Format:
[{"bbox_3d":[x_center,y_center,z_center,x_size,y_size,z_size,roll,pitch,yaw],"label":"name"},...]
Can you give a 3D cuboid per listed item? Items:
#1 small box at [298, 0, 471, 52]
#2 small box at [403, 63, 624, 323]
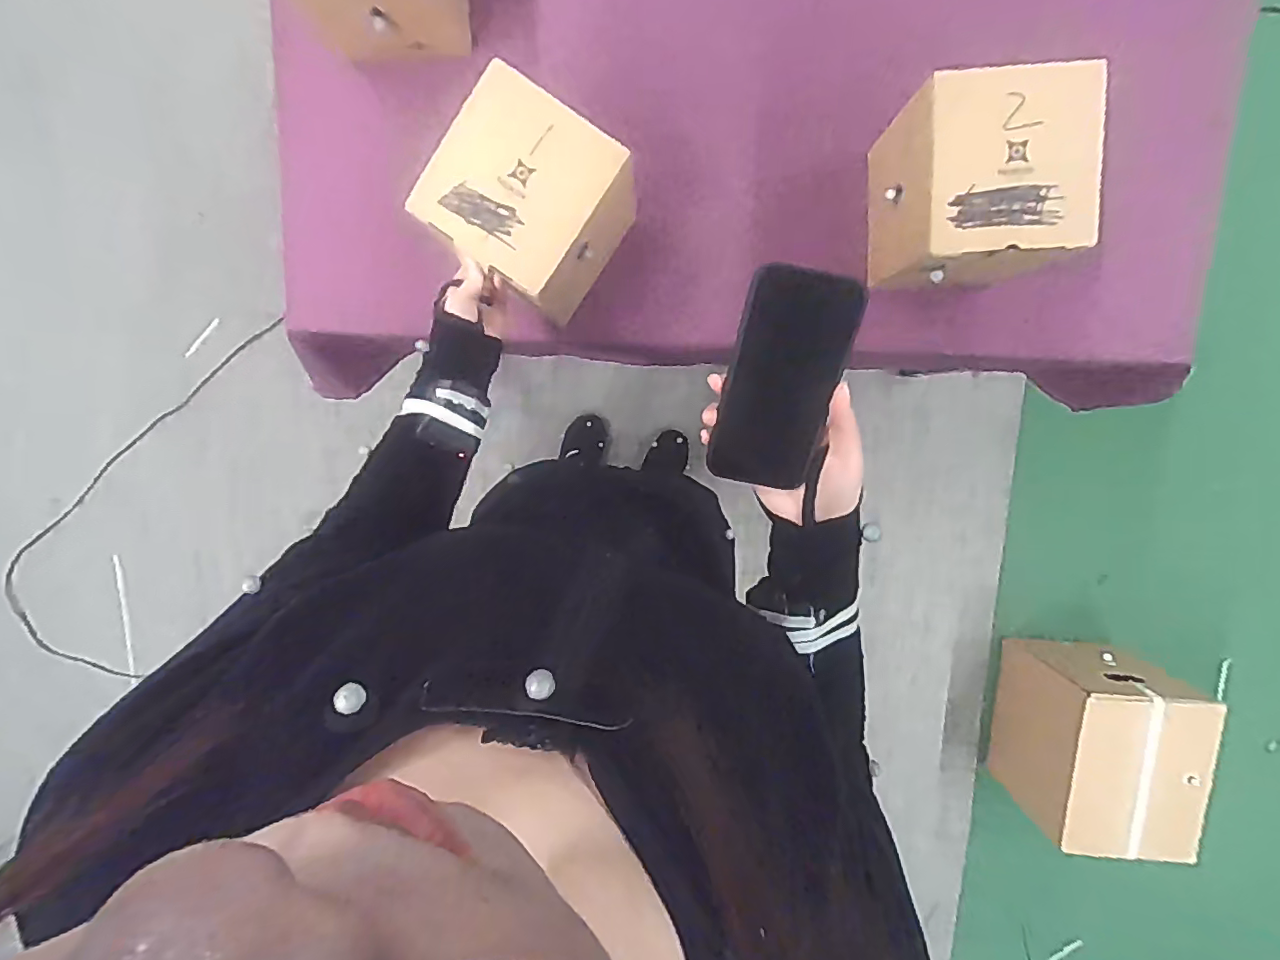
[{"bbox_3d":[-0.294,-0.607,0.593,0.168,0.176,0.179,-2,99,1],"label":"small box"},{"bbox_3d":[-0.128,-0.307,0.626,0.168,0.176,0.179,34,94,-2],"label":"small box"}]
